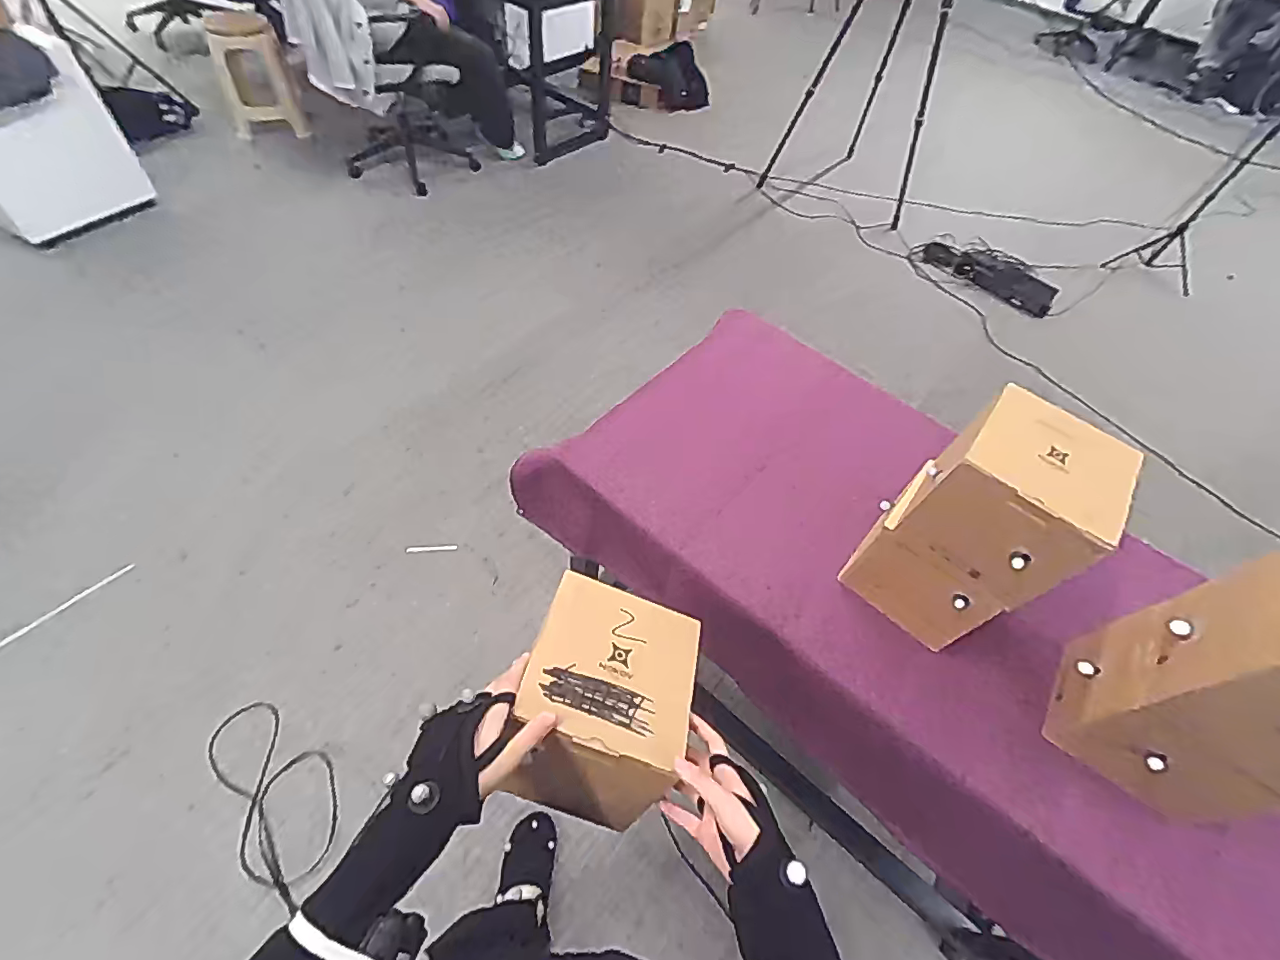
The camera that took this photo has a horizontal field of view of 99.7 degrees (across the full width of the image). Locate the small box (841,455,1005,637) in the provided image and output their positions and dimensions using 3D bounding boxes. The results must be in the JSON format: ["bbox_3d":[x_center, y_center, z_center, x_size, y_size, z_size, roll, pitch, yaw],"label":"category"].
[{"bbox_3d":[0.437,0.103,0.810,0.179,0.176,0.168,38,58,18],"label":"small box"}]

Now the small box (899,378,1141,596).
[{"bbox_3d":[0.458,0.013,0.676,0.168,0.176,0.179,38,58,17],"label":"small box"}]

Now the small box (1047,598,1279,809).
[{"bbox_3d":[0.679,0.293,0.699,0.179,0.176,0.168,34,58,18],"label":"small box"}]
